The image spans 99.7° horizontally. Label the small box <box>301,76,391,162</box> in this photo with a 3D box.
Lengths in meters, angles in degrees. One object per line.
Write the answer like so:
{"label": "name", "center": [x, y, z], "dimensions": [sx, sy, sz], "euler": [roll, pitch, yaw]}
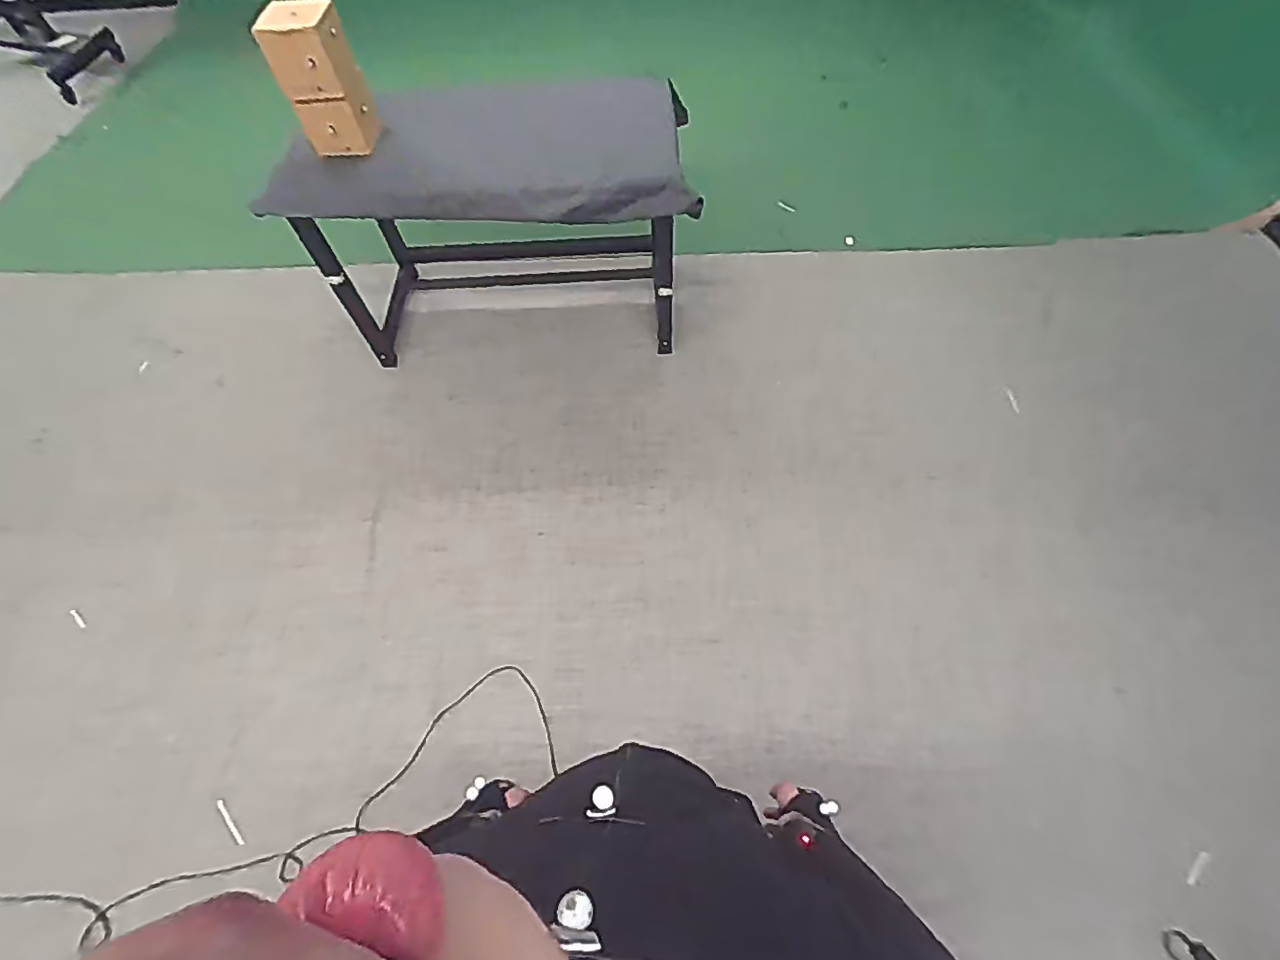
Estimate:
{"label": "small box", "center": [-0.896, -1.108, 1.667], "dimensions": [0.168, 0.176, 0.179], "euler": [0, 59, 2]}

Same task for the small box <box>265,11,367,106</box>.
{"label": "small box", "center": [-0.900, -1.180, 1.520], "dimensions": [0.168, 0.176, 0.179], "euler": [-2, 58, 0]}
